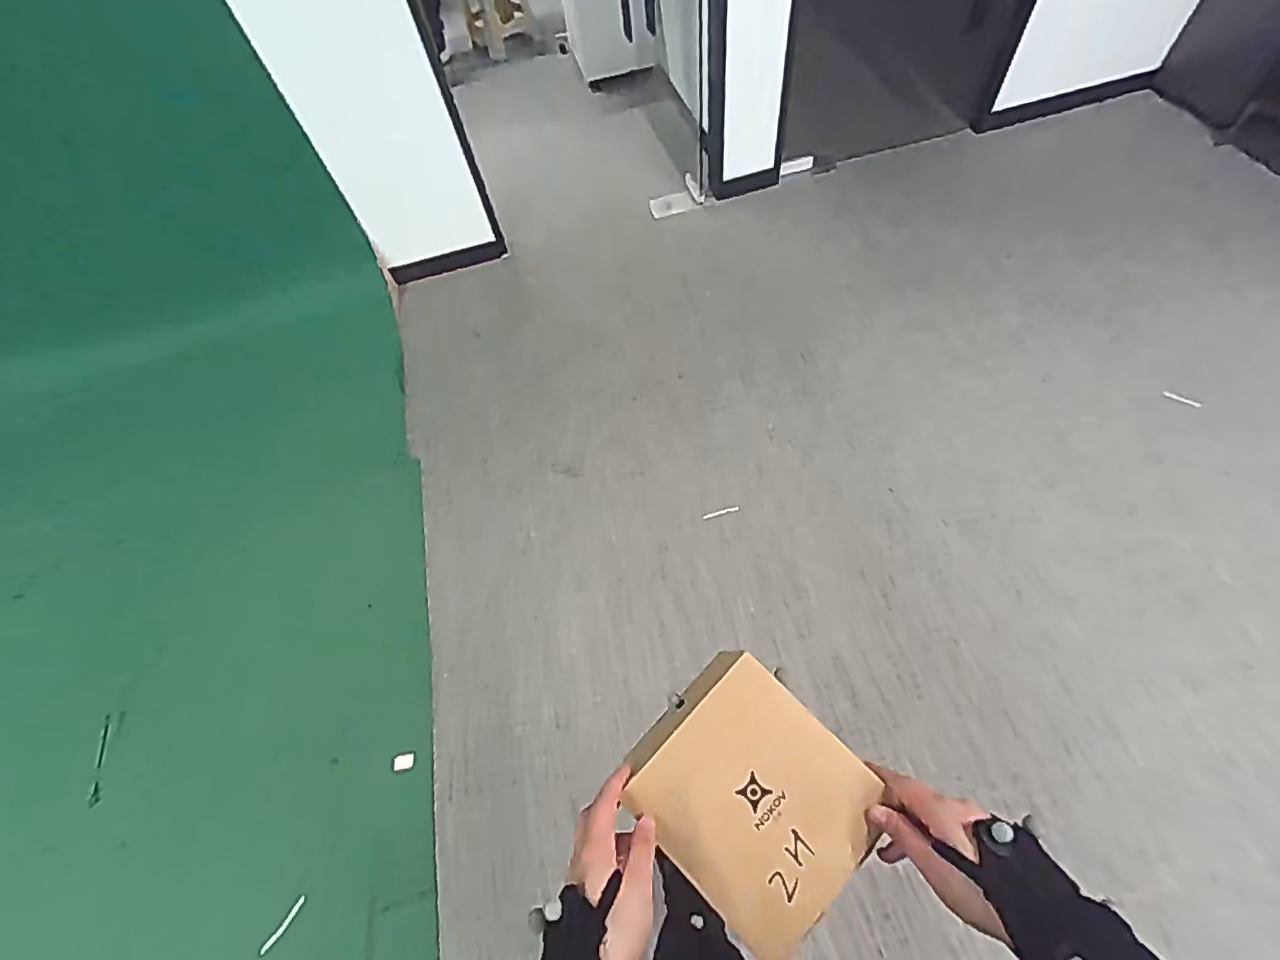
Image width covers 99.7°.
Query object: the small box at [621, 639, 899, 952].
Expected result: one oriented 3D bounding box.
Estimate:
[{"bbox_3d":[0.099,0.279,0.527,0.168,0.176,0.179,-43,77,-11],"label":"small box"}]
